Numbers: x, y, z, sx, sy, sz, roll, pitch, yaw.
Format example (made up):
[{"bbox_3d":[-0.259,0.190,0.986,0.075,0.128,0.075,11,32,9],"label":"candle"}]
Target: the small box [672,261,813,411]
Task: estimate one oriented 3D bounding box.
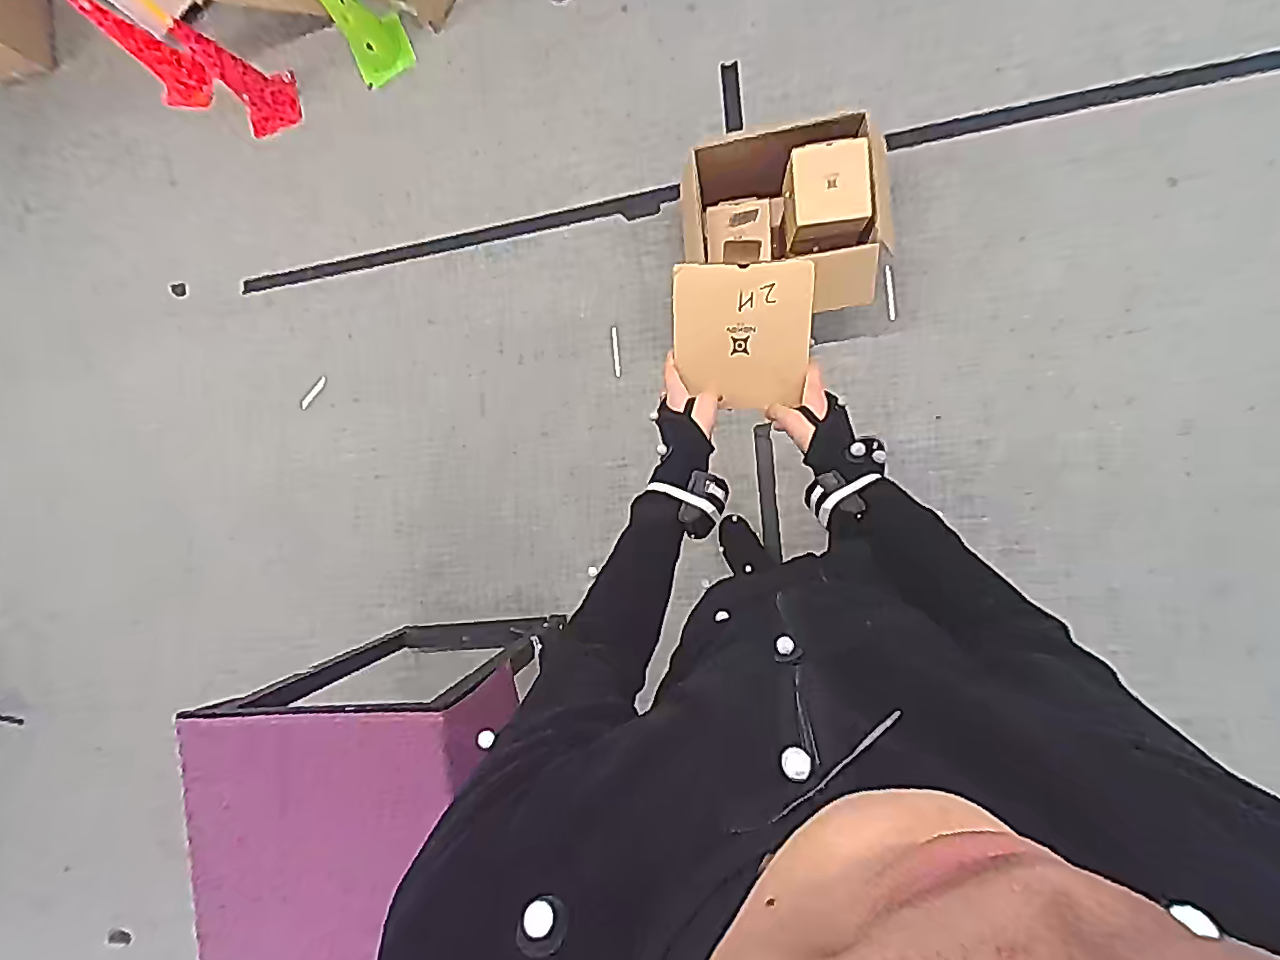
[{"bbox_3d":[0.128,-0.194,0.732,0.168,0.176,0.179,0,106,4],"label":"small box"}]
